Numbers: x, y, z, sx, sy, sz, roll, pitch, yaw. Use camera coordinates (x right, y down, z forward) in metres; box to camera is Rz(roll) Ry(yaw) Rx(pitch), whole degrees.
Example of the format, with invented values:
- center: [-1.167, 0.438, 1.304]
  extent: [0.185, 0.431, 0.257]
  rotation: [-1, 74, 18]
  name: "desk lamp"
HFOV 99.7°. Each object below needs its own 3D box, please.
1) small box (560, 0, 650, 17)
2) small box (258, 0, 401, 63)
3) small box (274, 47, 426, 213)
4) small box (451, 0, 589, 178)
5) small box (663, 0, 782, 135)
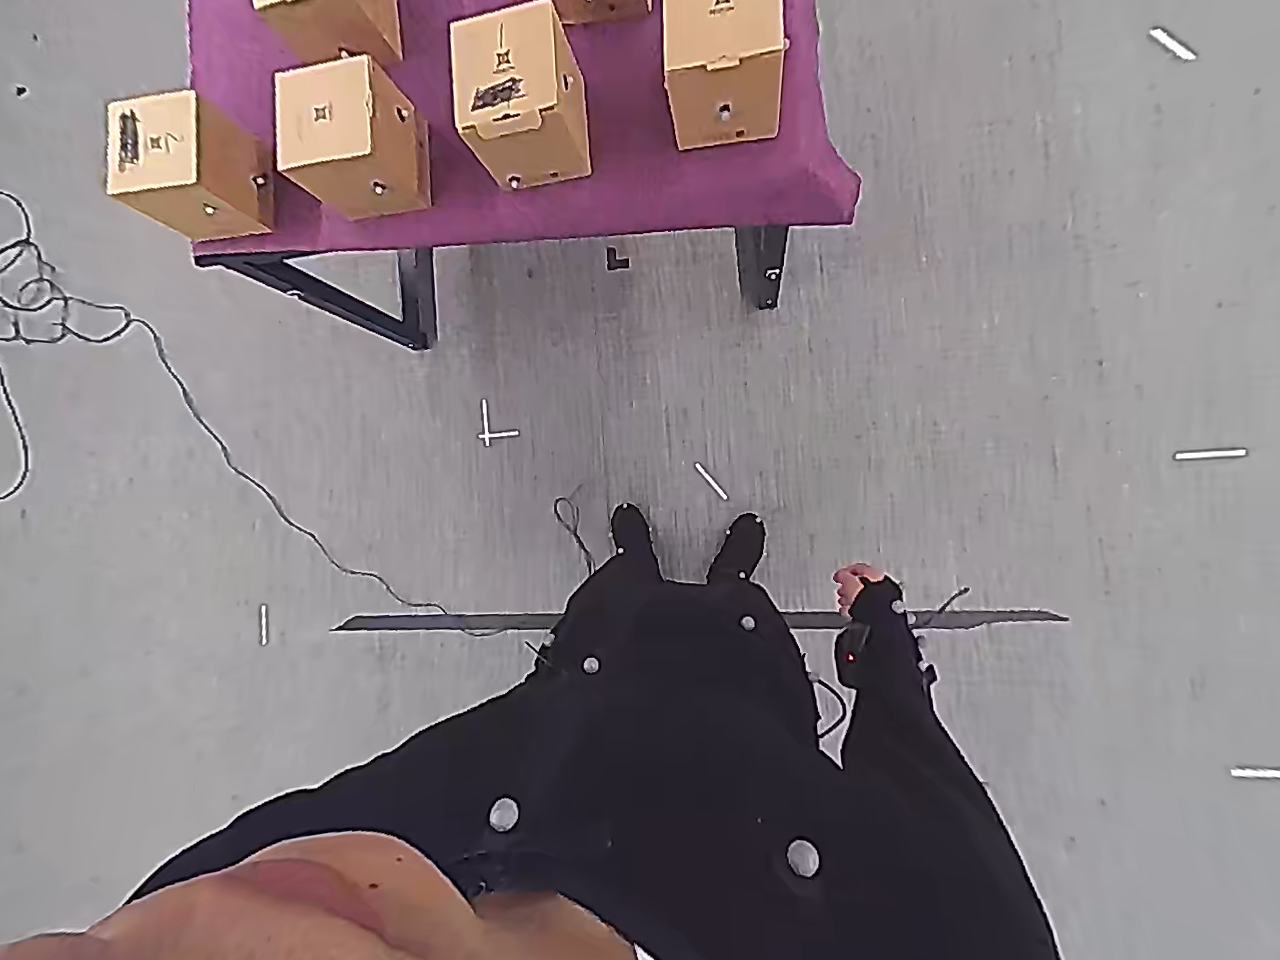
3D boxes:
- center: [-0.071, -0.907, 0.870]
  extent: [0.168, 0.176, 0.179]
  rotation: [3, 90, 11]
  name: "small box"
- center: [-0.550, -0.878, 0.958]
  extent: [0.168, 0.176, 0.179]
  rotation: [-7, 87, 10]
  name: "small box"
- center: [-0.489, -0.591, 0.936]
  extent: [0.179, 0.176, 0.168]
  rotation: [-3, 87, 10]
  name: "small box"
- center: [-0.186, -0.622, 0.880]
  extent: [0.168, 0.176, 0.179]
  rotation: [-5, 86, 10]
  name: "small box"
- center: [0.129, -0.657, 0.820]
  extent: [0.168, 0.176, 0.179]
  rotation: [-1, 87, 11]
  name: "small box"
